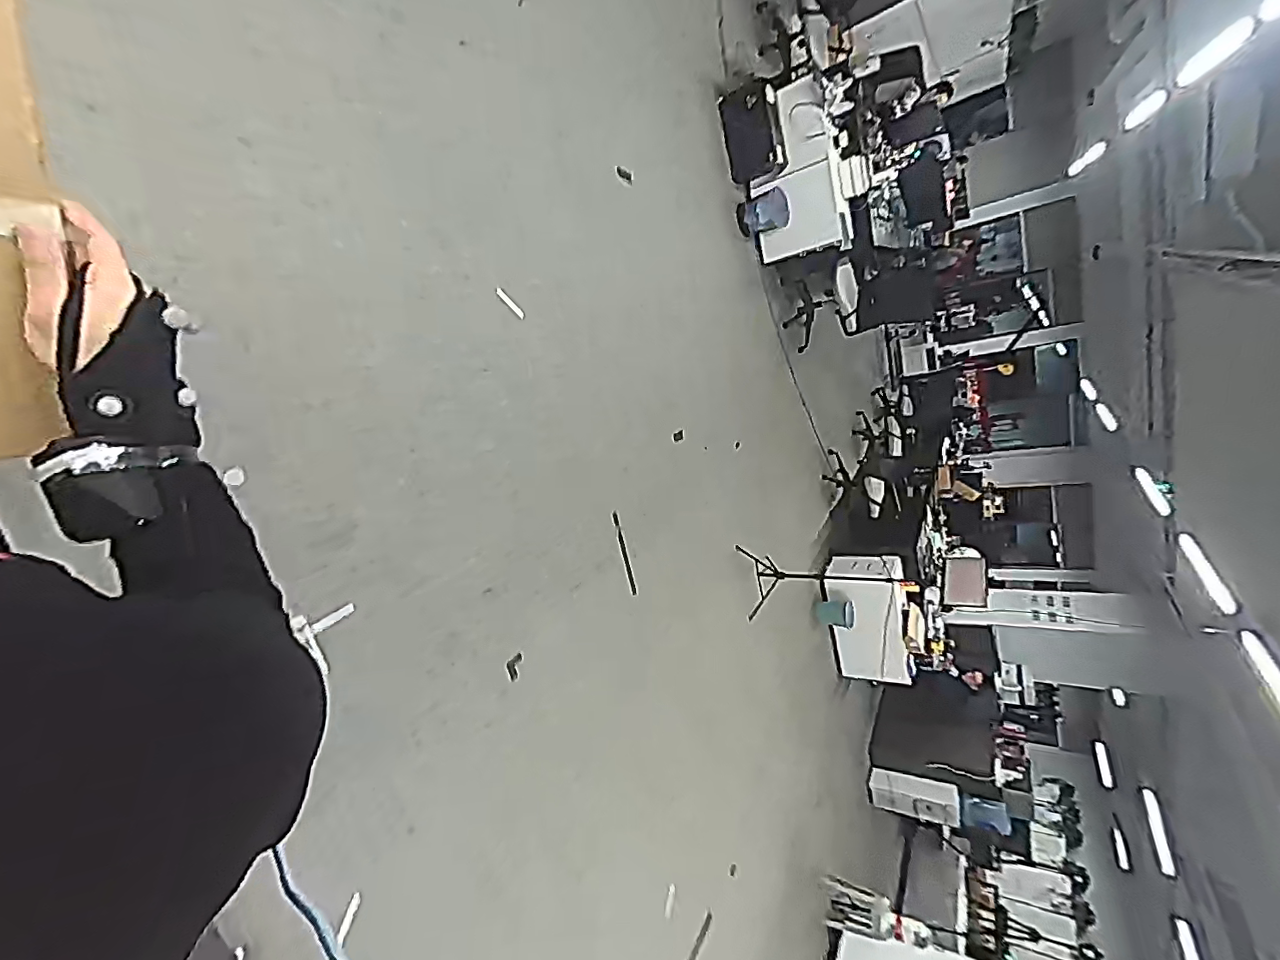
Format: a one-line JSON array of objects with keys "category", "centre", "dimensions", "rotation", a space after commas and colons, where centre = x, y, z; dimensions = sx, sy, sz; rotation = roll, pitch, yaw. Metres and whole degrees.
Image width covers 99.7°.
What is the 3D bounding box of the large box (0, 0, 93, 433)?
[{"category": "large box", "centre": [-0.613, -0.193, 0.259], "dimensions": [0.408, 0.320, 0.320], "rotation": [-21, 134, -53]}]
